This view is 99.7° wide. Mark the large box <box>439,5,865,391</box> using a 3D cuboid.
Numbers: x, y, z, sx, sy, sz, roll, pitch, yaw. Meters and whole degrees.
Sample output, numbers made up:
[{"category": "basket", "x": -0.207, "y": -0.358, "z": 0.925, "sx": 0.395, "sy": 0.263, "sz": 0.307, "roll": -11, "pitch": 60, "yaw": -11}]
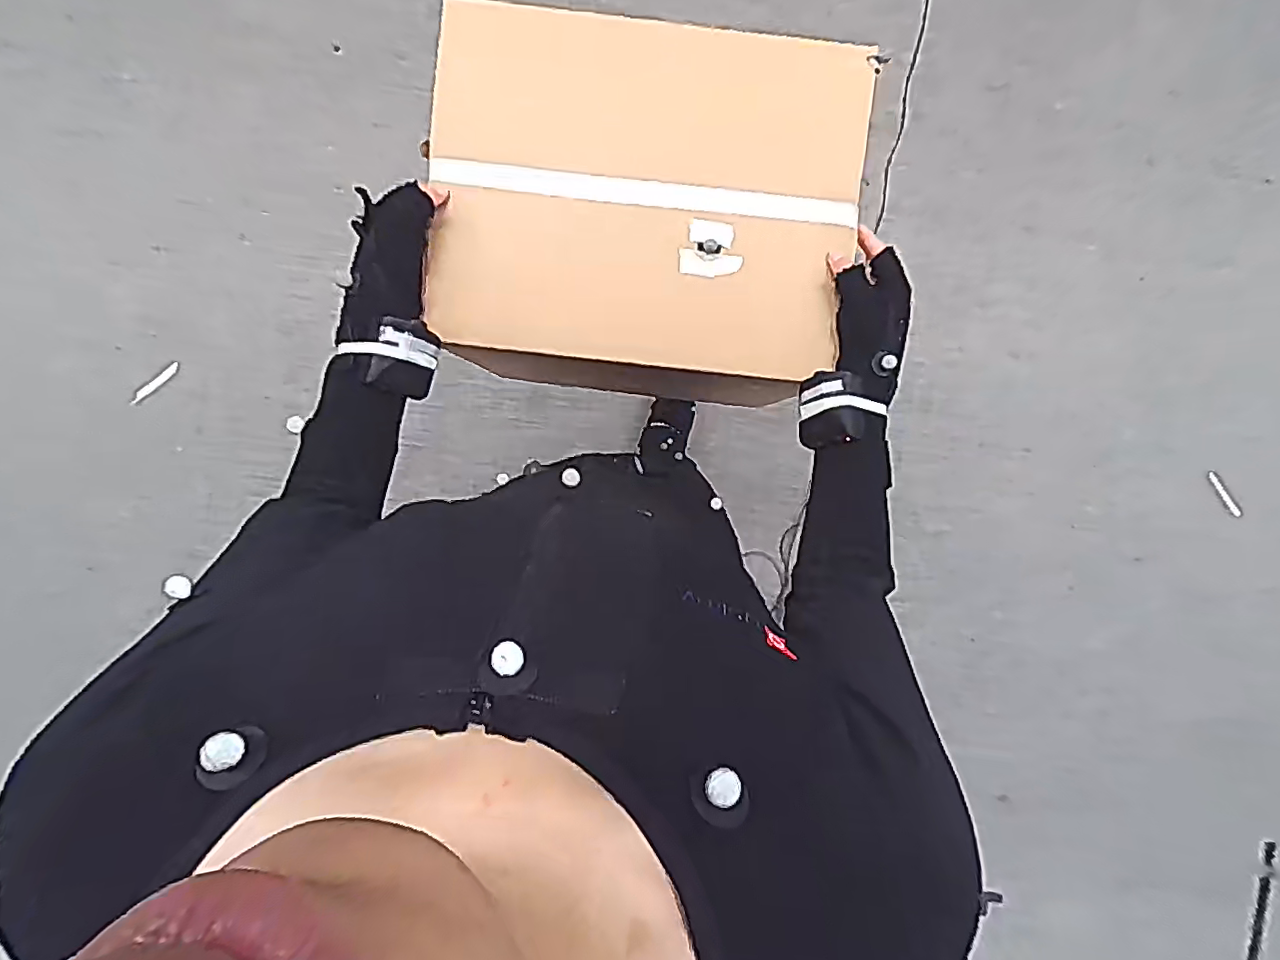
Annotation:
[{"category": "large box", "x": 0.005, "y": -0.295, "z": 0.676, "sx": 0.408, "sy": 0.320, "sz": 0.320, "roll": 6, "pitch": 95, "yaw": -2}]
